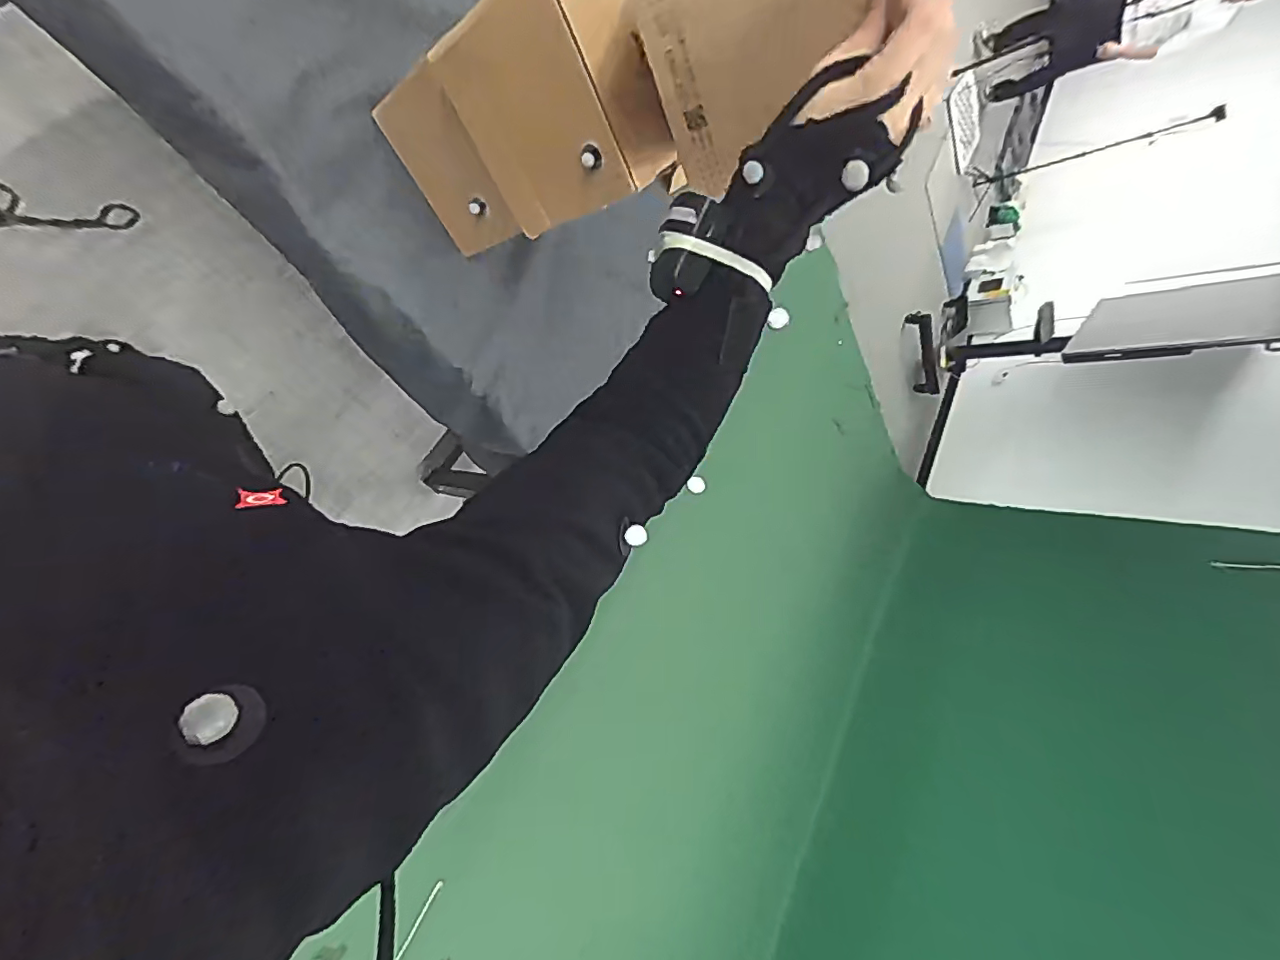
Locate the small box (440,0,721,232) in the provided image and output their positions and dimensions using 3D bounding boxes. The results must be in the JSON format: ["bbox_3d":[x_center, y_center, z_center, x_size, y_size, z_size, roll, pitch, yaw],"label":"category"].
[{"bbox_3d":[-0.054,-0.372,0.522,0.168,0.176,0.179,-52,129,-31],"label":"small box"}]

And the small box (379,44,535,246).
[{"bbox_3d":[-0.164,-0.401,0.641,0.168,0.176,0.179,-54,128,-30],"label":"small box"}]
